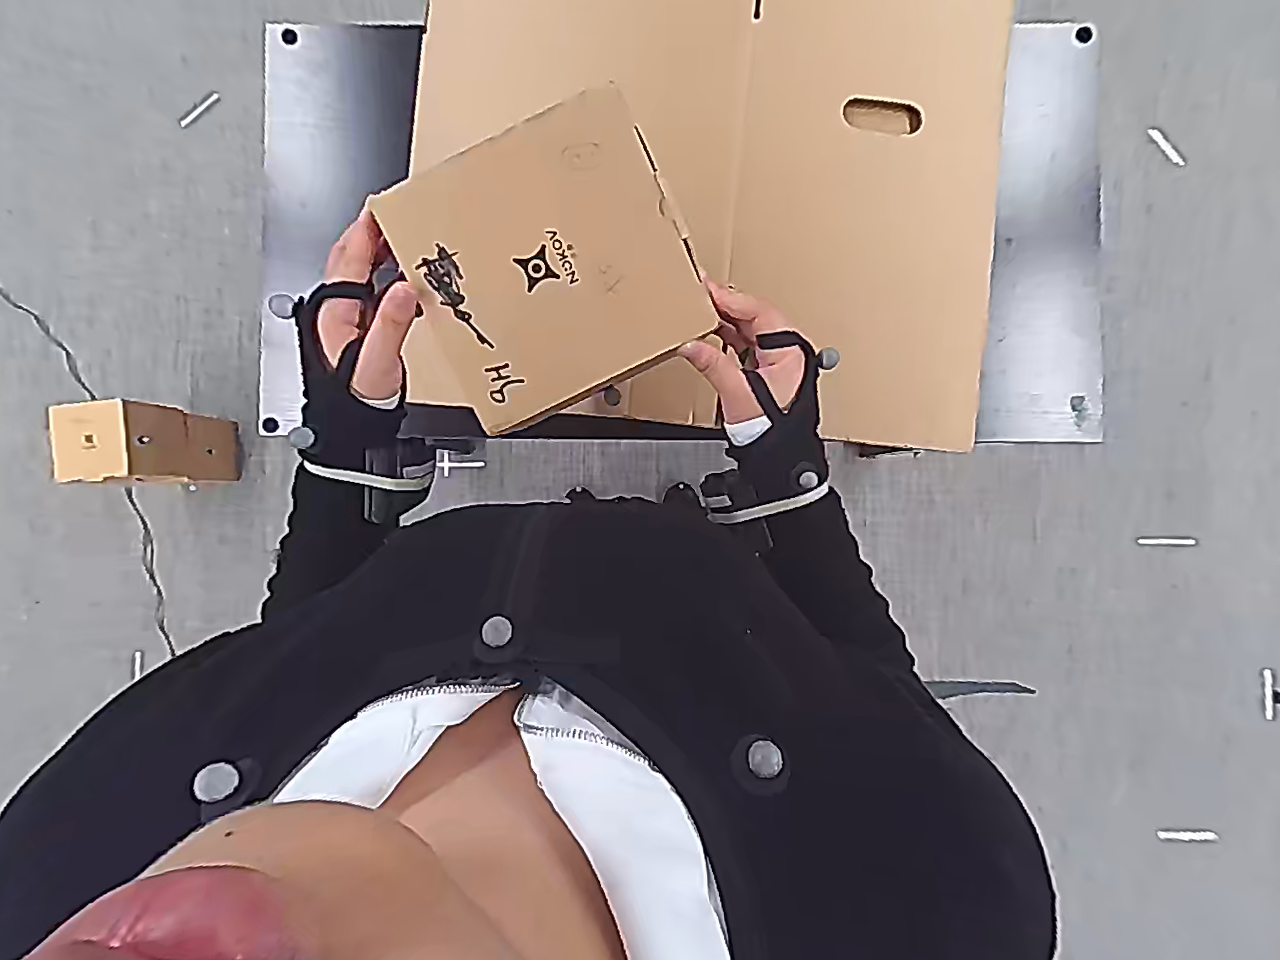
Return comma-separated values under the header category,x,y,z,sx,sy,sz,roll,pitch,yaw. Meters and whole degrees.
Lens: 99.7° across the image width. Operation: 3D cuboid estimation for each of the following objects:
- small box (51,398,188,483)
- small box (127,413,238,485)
category,x,y,z,sx,sy,sz,roll,pitch,yaw
small box,-1.216,-0.087,1.277,0.168,0.176,0.179,-6,88,0
small box,-1.214,-0.078,1.439,0.168,0.176,0.179,-4,90,1
